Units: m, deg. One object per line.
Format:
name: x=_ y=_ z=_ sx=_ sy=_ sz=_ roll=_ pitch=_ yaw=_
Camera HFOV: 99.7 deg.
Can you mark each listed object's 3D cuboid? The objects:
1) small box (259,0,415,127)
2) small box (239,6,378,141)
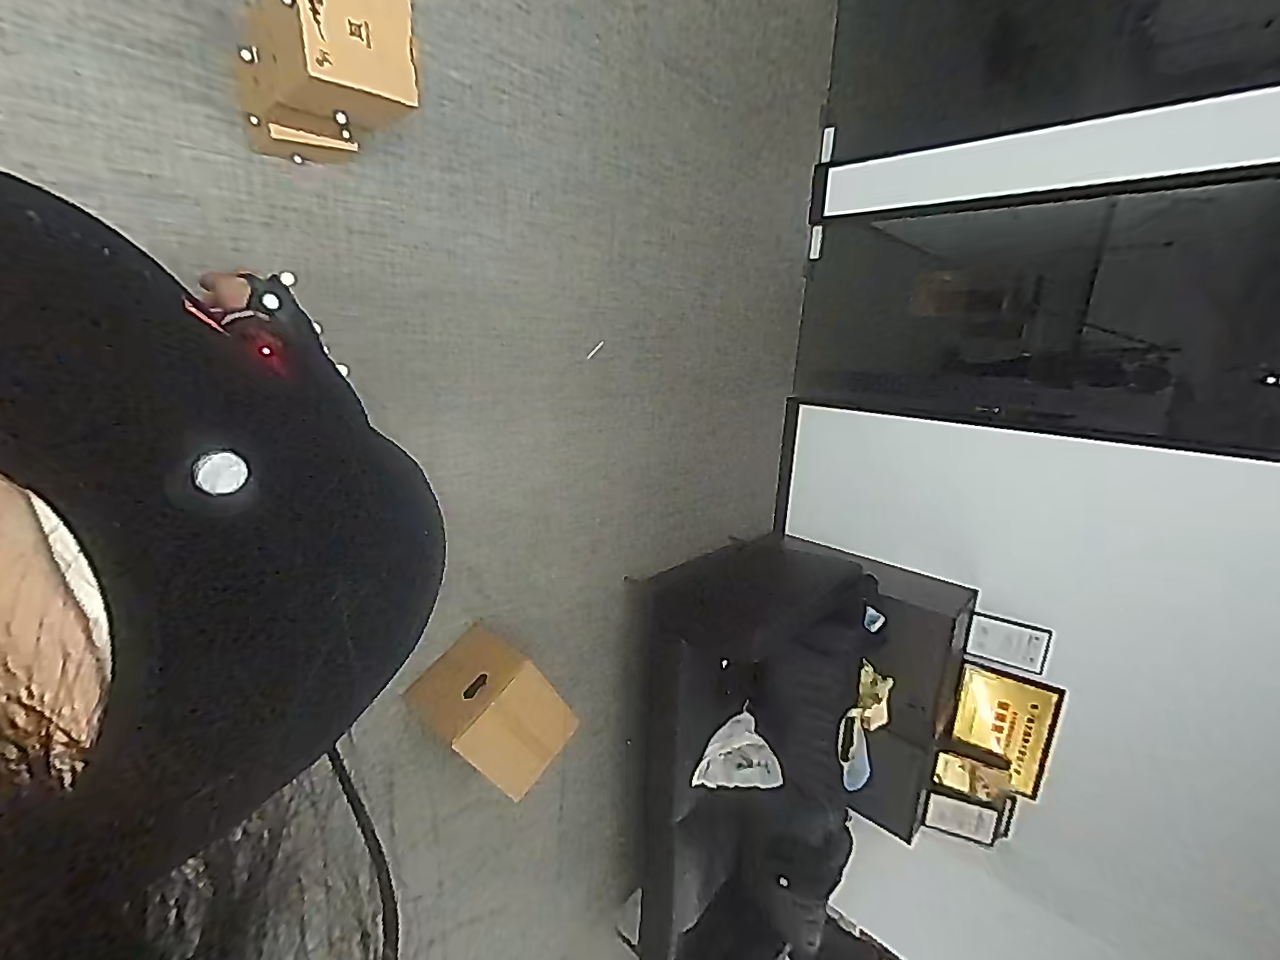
small box: x=-0.508 y=-0.722 z=0.913 sx=0.179 sy=0.176 sz=0.168 roll=-15 pitch=113 yaw=-46
small box: x=-0.623 y=-0.764 z=1.022 sx=0.179 sy=0.176 sz=0.168 roll=-14 pitch=112 yaw=-44
